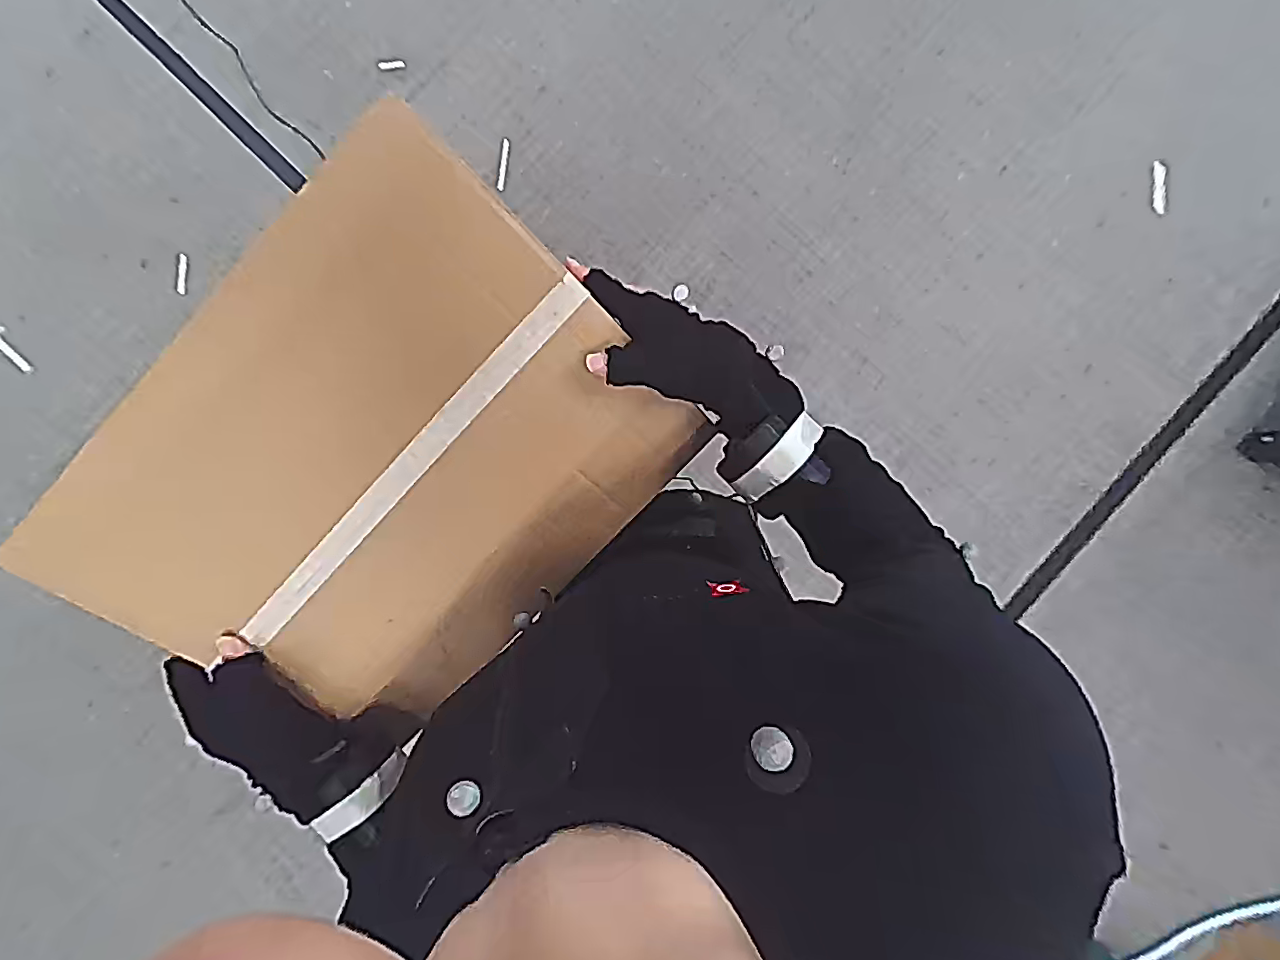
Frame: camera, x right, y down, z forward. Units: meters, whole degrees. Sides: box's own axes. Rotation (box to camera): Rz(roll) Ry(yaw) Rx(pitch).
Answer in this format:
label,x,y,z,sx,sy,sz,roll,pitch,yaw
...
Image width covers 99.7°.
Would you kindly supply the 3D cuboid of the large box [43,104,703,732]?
label,x,y,z,sx,sy,sz,roll,pitch,yaw
large box,-0.215,-0.051,0.552,0.408,0.320,0.320,-45,113,6
